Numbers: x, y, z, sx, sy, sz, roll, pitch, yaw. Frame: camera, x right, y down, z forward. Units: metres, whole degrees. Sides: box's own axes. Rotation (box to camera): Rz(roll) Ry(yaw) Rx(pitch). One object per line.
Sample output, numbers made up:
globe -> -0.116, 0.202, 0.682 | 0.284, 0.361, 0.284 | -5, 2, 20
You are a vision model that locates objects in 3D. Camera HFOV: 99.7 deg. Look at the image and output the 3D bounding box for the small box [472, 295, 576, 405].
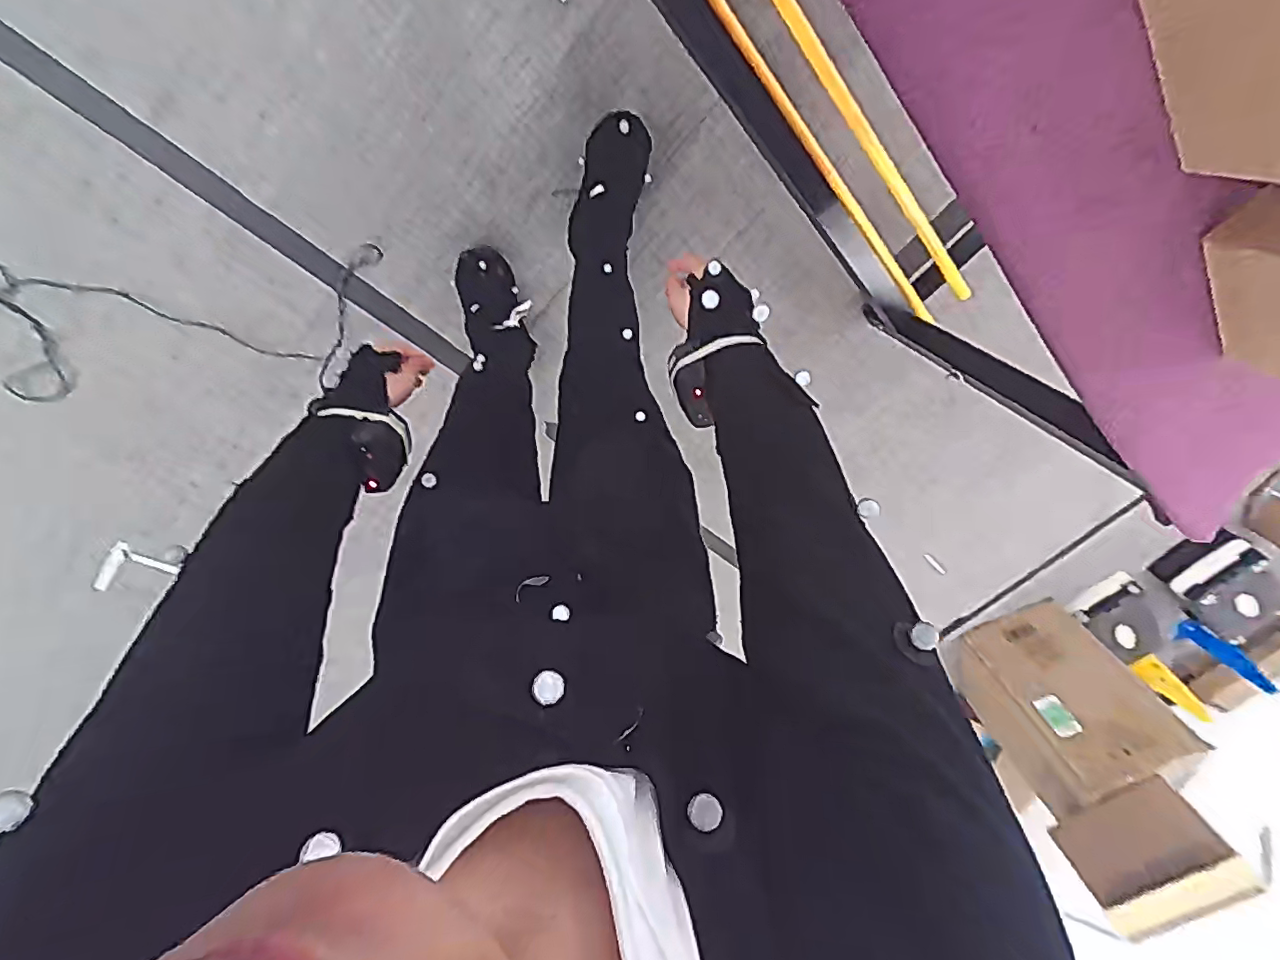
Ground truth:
small box -> -0.227, -0.255, 1.052 | 0.179, 0.176, 0.168 | -6, 123, -13
